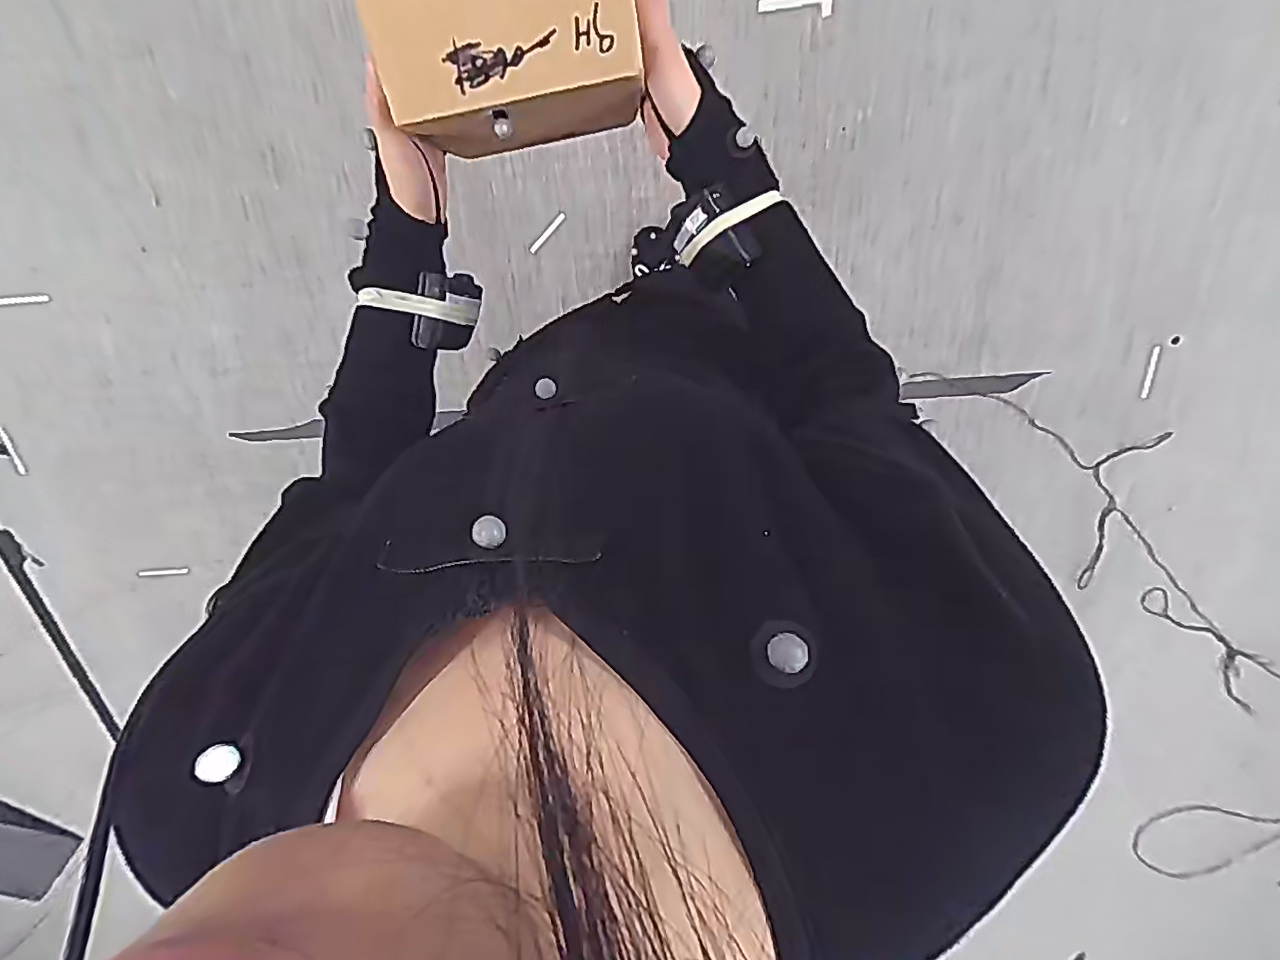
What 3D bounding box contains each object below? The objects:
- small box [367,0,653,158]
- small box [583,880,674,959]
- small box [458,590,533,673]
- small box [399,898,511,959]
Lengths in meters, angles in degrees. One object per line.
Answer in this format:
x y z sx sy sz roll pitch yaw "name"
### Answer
-0.090 -0.351 0.382 0.168 0.176 0.179 -10 114 2 "small box"
-0.018 0.899 1.032 0.168 0.176 0.179 -3 114 2 "small box"
-0.434 0.454 1.638 0.179 0.176 0.168 11 110 -6 "small box"
-0.362 0.952 1.050 0.179 0.176 0.168 -3 112 0 "small box"
